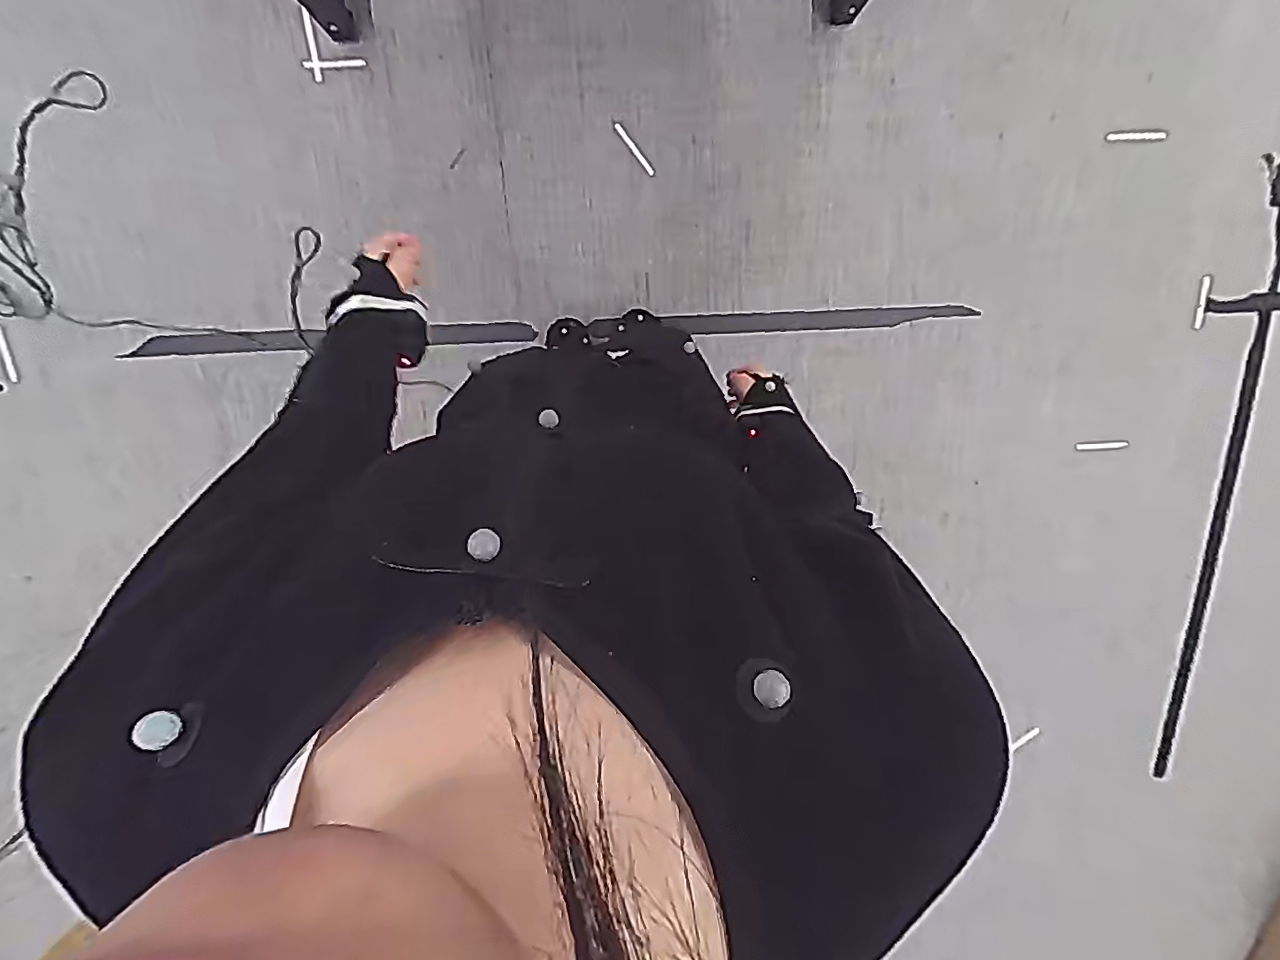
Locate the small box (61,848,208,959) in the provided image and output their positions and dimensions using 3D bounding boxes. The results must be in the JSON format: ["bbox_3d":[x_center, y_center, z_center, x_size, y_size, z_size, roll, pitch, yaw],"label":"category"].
[{"bbox_3d":[-1.063,0.924,1.123,0.179,0.176,0.168,-43,103,8],"label":"small box"}]

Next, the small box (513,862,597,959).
[{"bbox_3d":[-0.208,1.099,1.355,0.168,0.176,0.179,-14,106,0],"label":"small box"}]

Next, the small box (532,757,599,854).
[{"bbox_3d":[-0.222,0.996,1.666,0.168,0.176,0.179,-13,104,-2],"label":"small box"}]

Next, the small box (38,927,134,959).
[{"bbox_3d":[-1.055,0.960,0.964,0.179,0.176,0.168,-44,103,8],"label":"small box"}]
